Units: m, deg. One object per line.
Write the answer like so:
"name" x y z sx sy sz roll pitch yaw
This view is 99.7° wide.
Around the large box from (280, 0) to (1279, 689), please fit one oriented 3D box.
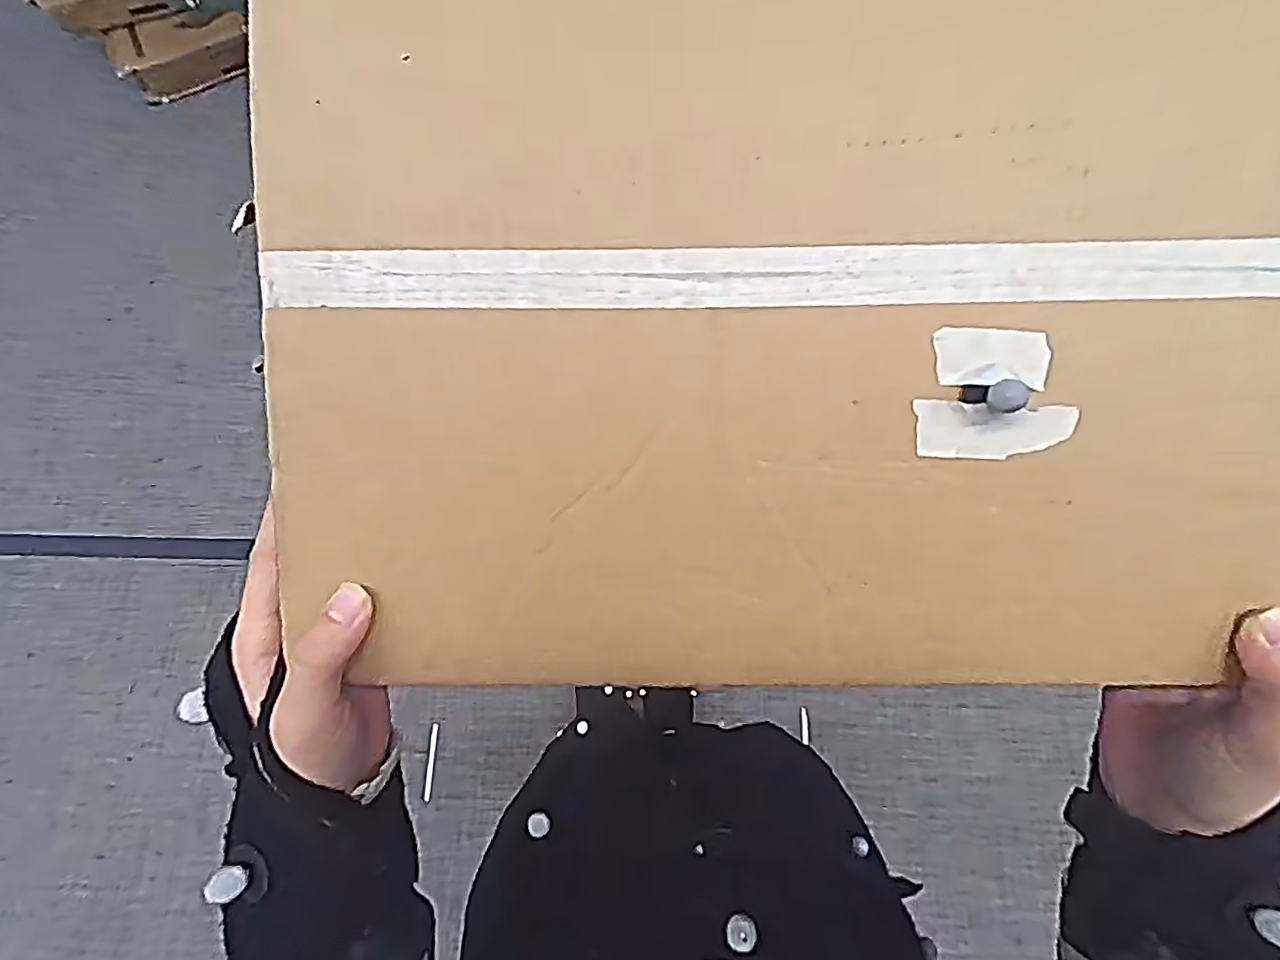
"large box" 0.060 -0.080 0.362 0.408 0.320 0.320 -1 94 -1
